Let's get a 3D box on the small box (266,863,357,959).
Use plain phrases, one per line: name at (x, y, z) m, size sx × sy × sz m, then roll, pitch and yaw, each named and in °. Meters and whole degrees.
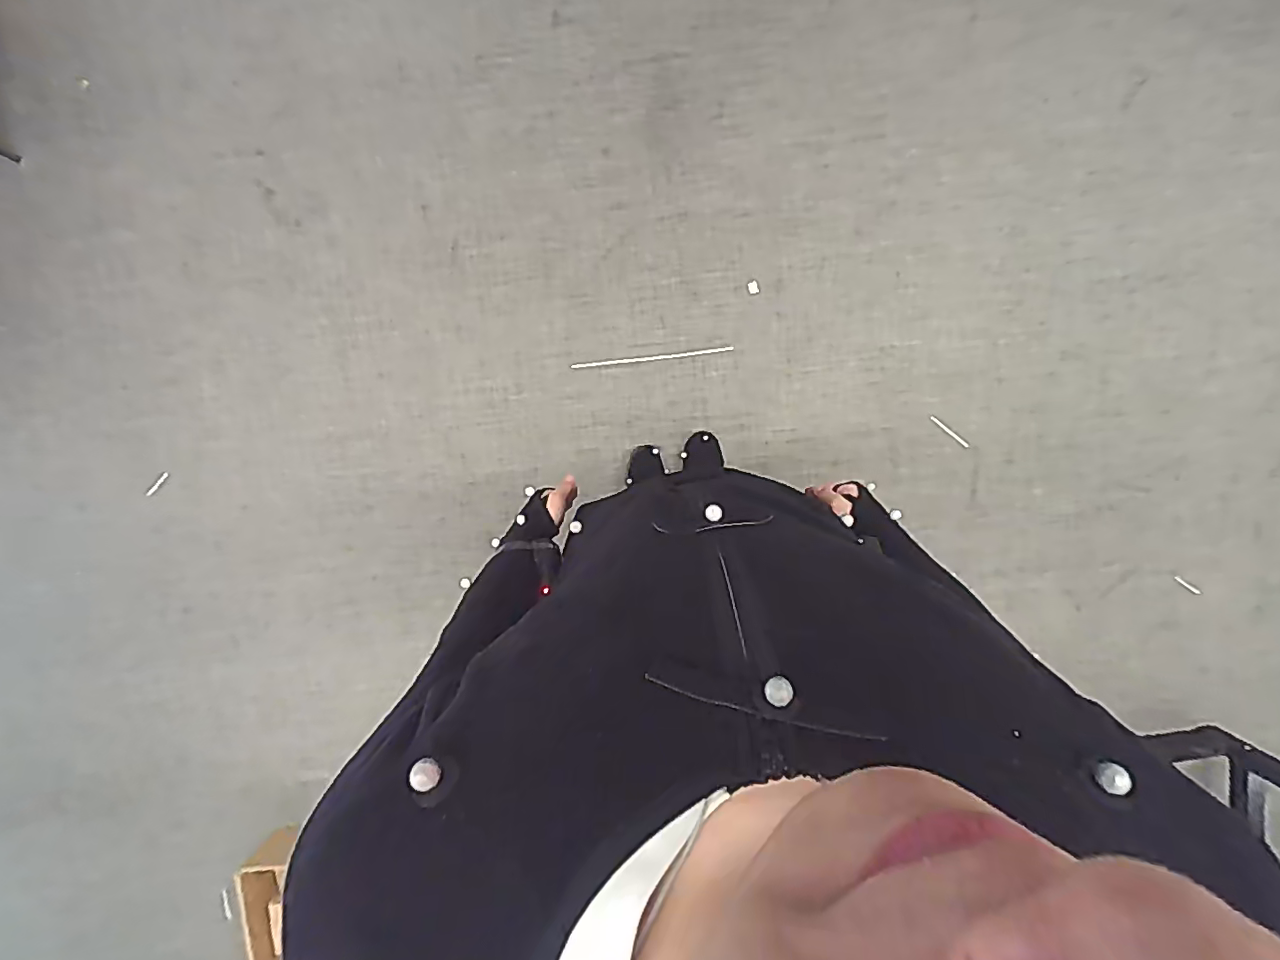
small box at (-0.987, 1.303, 1.643) m, size 0.179 × 0.176 × 0.168 m, roll -3°, pitch 96°, yaw 1°
